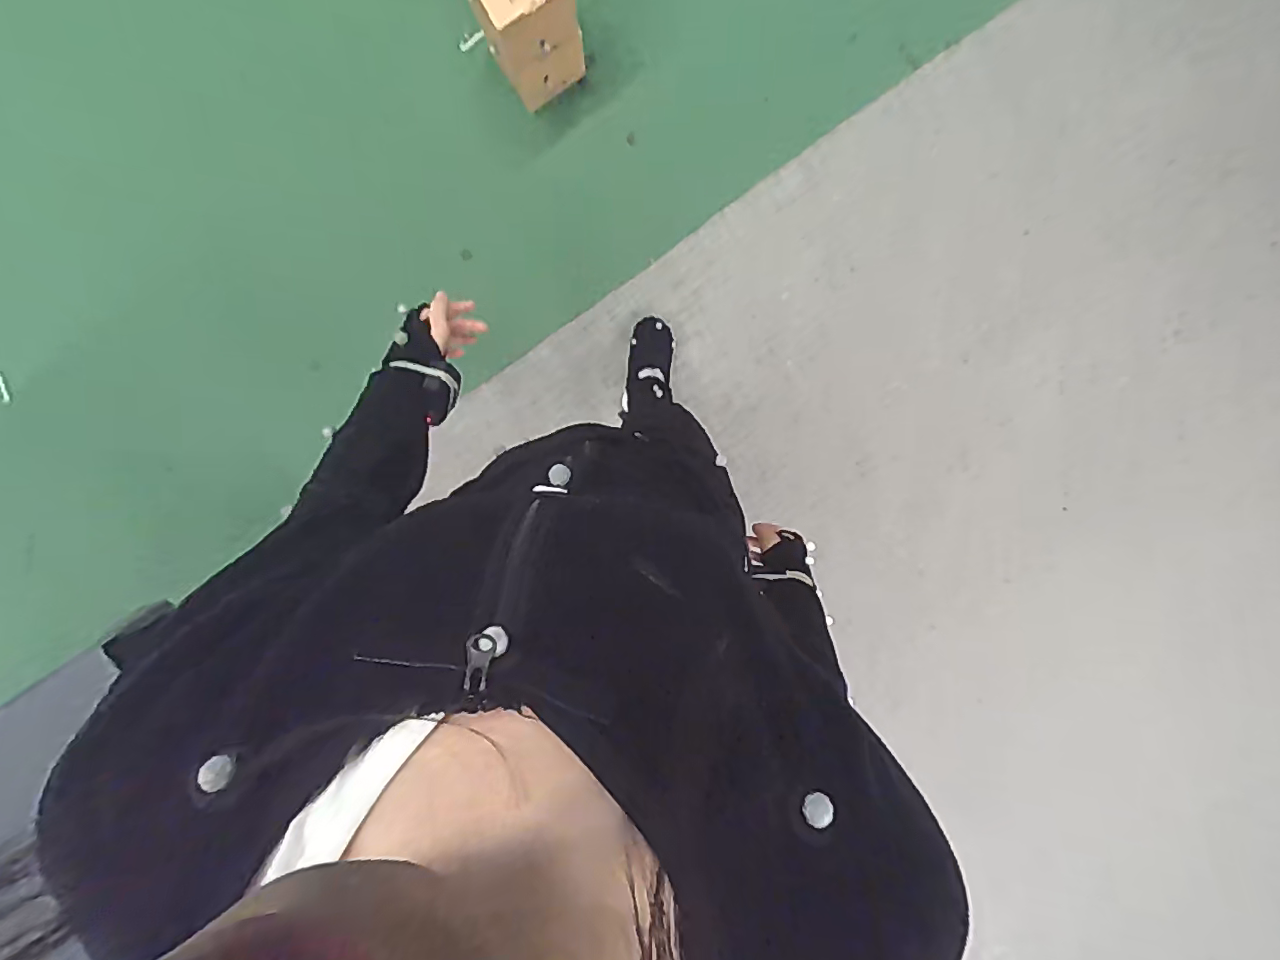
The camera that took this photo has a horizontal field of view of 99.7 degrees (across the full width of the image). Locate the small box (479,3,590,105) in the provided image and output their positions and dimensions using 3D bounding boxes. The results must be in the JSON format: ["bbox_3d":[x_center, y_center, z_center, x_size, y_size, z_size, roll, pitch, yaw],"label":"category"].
[{"bbox_3d":[-0.227,-0.997,1.224,0.168,0.176,0.179,-33,99,6],"label":"small box"}]

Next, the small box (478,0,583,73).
[{"bbox_3d":[-0.229,-0.963,1.062,0.168,0.176,0.179,-31,100,6],"label":"small box"}]
